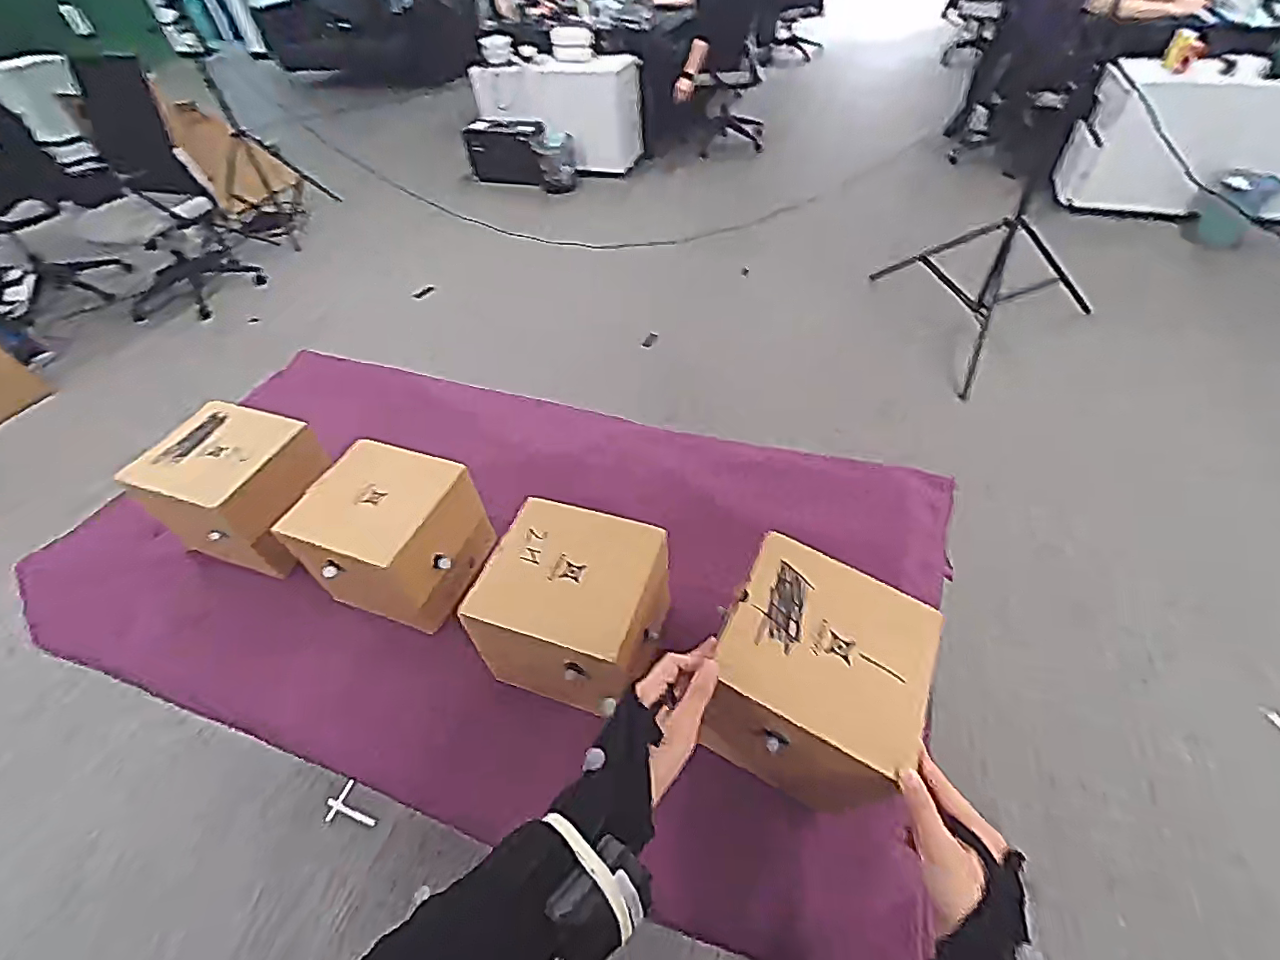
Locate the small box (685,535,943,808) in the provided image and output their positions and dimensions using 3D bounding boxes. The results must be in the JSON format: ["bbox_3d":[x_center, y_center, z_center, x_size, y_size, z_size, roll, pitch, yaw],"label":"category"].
[{"bbox_3d":[0.160,0.192,0.532,0.179,0.176,0.168,25,53,13],"label":"small box"}]

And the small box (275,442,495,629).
[{"bbox_3d":[-0.323,0.078,0.729,0.179,0.176,0.168,13,50,17],"label":"small box"}]

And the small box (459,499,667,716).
[{"bbox_3d":[-0.072,0.152,0.633,0.179,0.176,0.168,12,49,16],"label":"small box"}]
